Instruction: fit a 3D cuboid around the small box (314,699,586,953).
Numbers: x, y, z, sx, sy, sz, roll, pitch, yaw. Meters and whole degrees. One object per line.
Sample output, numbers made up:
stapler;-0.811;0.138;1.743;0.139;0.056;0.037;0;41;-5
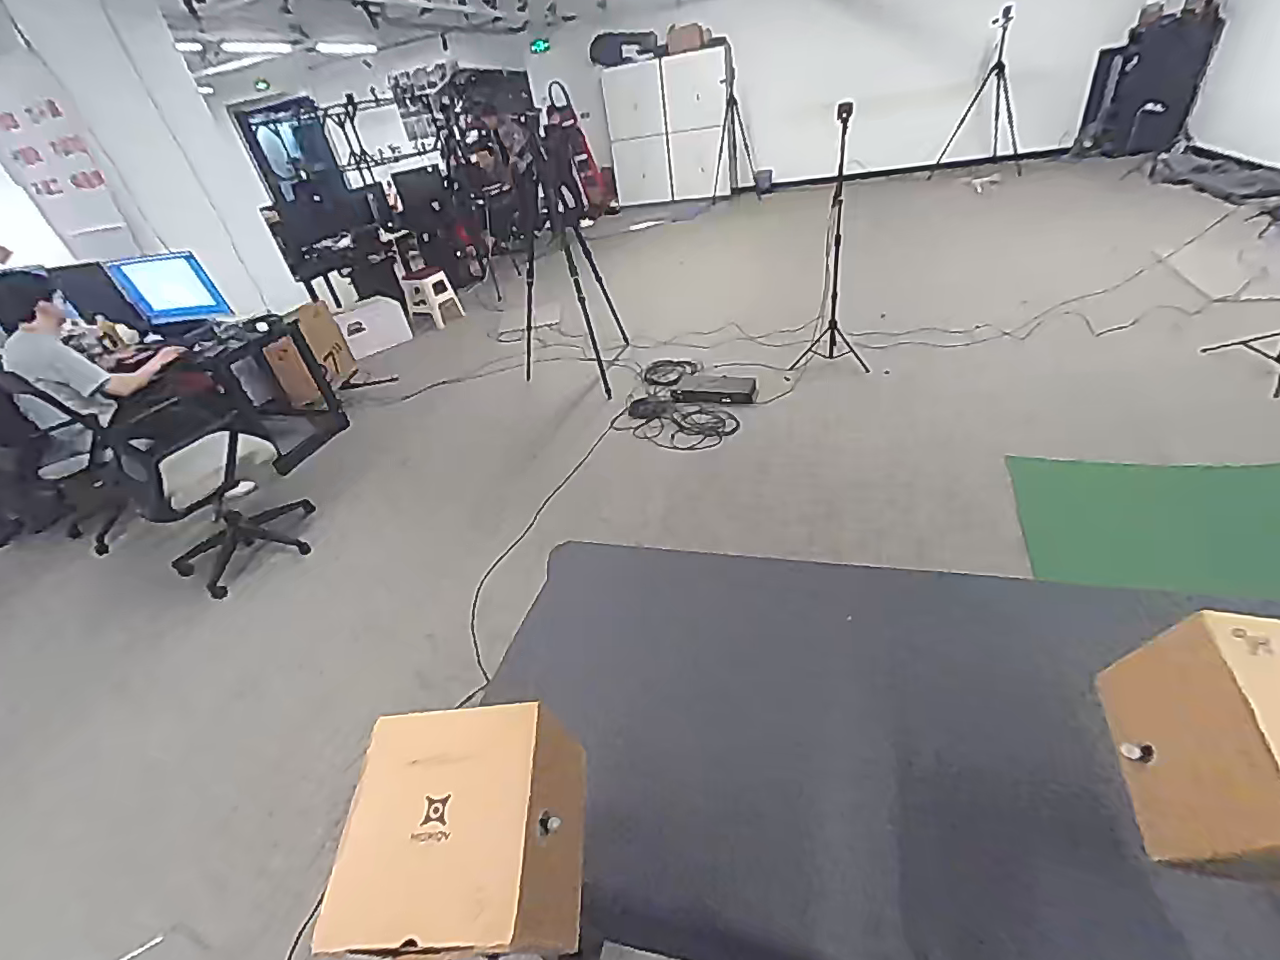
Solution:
small box;-0.153;0.328;0.509;0.168;0.176;0.179;-8;47;7

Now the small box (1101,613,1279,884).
small box;0.550;0.239;0.460;0.168;0.176;0.179;7;53;10
